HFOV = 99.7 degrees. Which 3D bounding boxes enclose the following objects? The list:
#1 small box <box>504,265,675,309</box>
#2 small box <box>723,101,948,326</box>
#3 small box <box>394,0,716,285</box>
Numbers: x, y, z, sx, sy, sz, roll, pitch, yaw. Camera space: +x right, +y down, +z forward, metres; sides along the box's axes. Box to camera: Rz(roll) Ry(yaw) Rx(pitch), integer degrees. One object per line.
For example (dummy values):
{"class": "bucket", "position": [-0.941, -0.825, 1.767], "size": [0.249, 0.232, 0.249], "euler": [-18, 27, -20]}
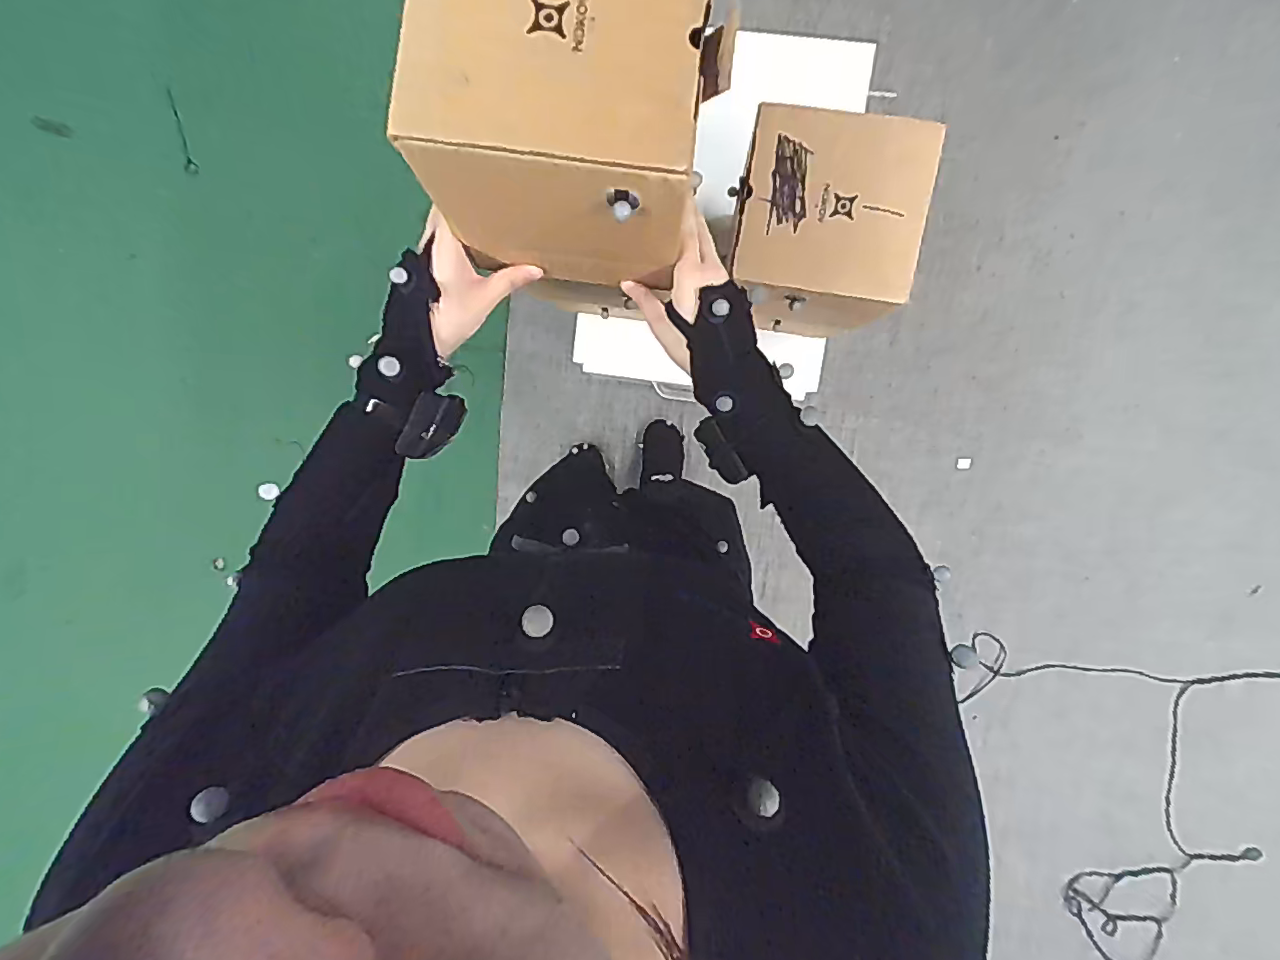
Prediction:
{"class": "small box", "position": [-0.042, -0.295, 0.606], "size": [0.179, 0.176, 0.168], "euler": [7, 97, 2]}
{"class": "small box", "position": [0.193, -0.273, 0.593], "size": [0.179, 0.176, 0.168], "euler": [9, 98, 2]}
{"class": "small box", "position": [-0.046, -0.260, 0.392], "size": [0.179, 0.176, 0.168], "euler": [7, 87, -1]}
